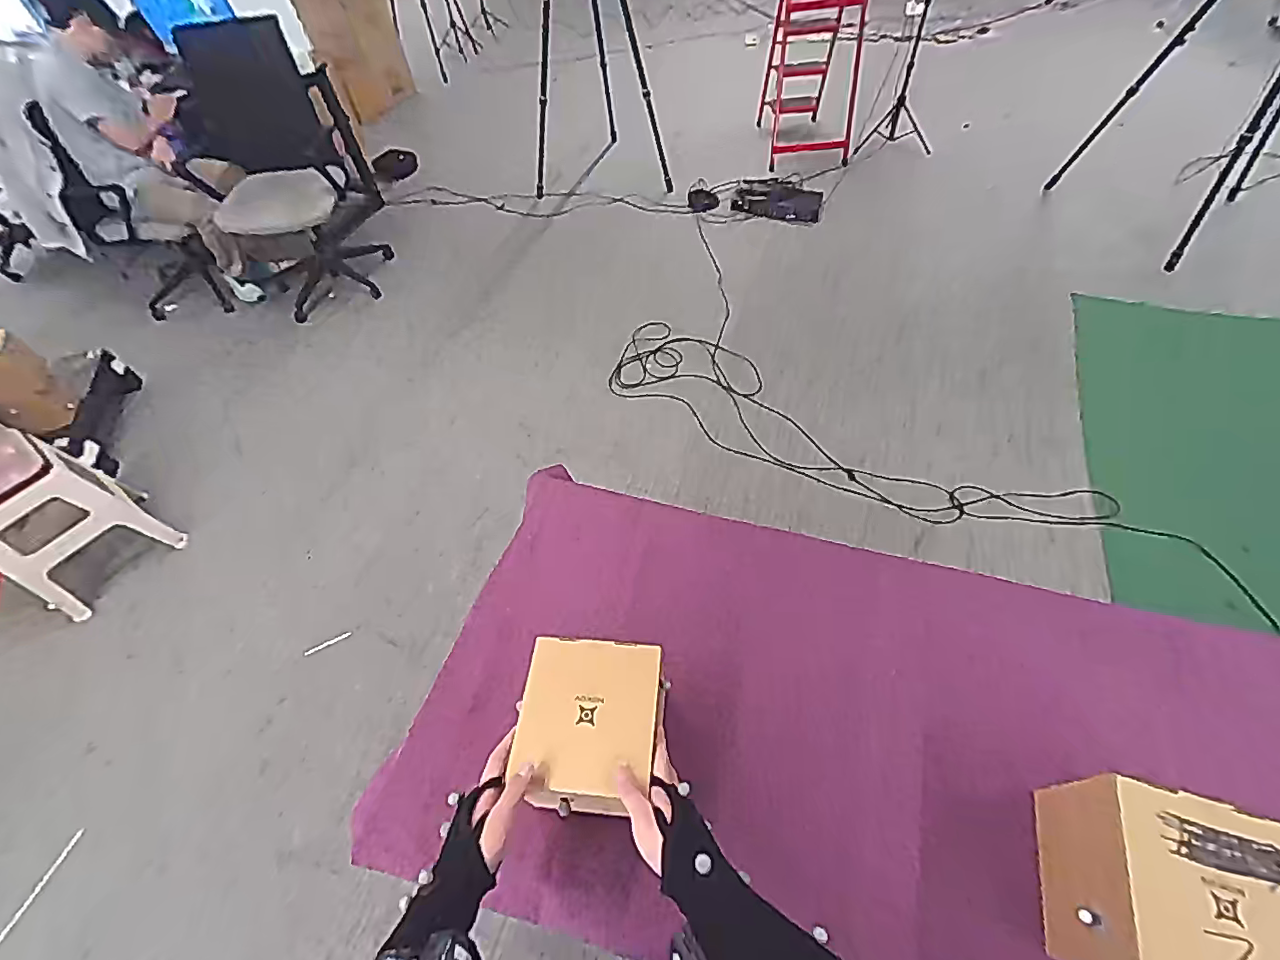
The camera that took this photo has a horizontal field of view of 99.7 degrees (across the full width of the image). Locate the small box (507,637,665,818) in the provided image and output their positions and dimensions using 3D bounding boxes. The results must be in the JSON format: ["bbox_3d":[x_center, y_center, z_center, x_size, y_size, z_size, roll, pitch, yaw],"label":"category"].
[{"bbox_3d":[-0.055,0.323,0.701,0.168,0.176,0.179,2,51,5],"label":"small box"}]
